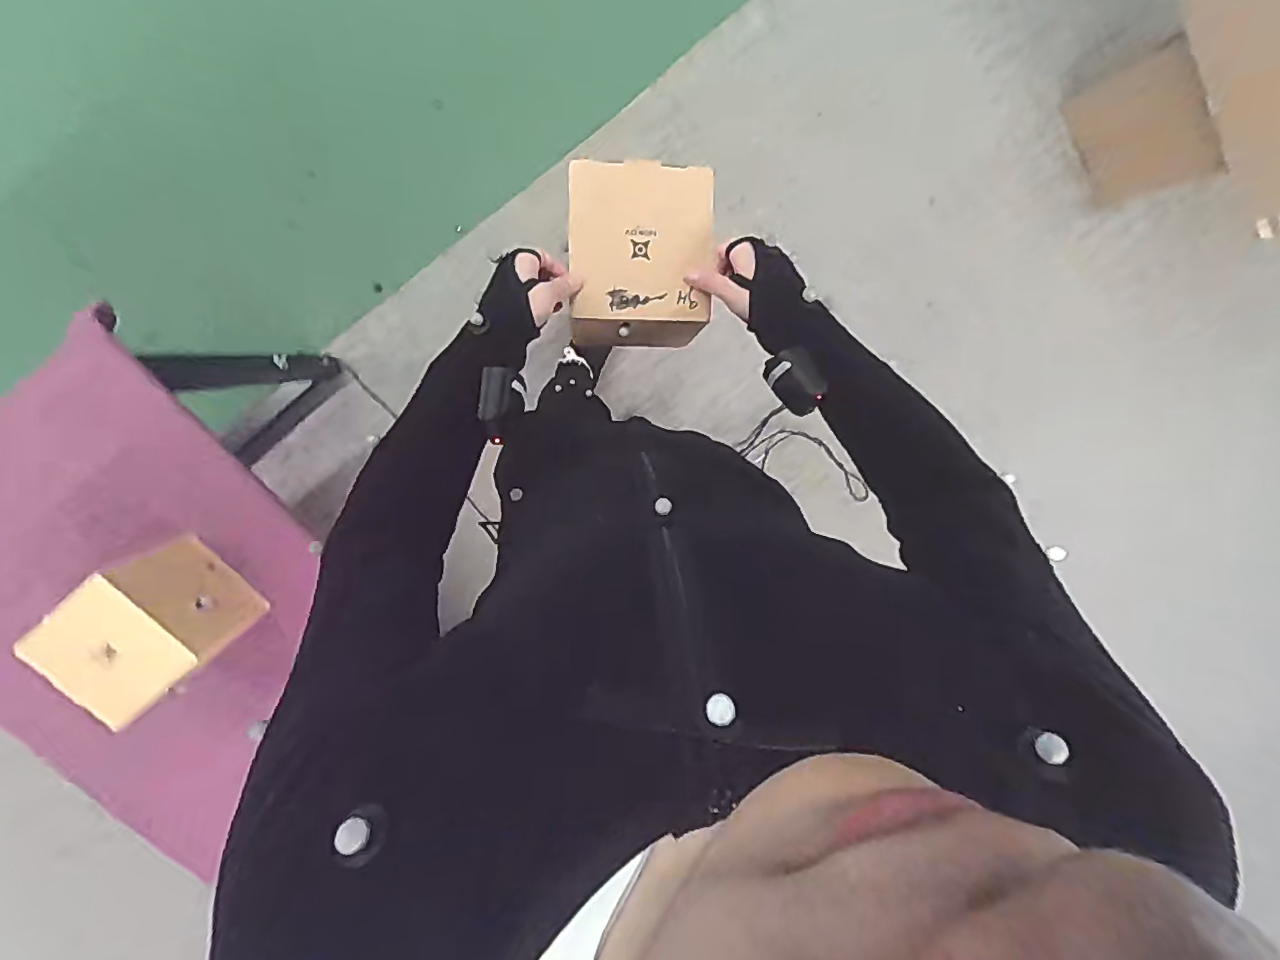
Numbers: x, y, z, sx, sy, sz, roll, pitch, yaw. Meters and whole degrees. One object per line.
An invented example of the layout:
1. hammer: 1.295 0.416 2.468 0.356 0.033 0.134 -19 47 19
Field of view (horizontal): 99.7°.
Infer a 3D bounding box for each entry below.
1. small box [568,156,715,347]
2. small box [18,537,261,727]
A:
1. small box: -0.005 -0.278 0.693 0.168 0.176 0.179 1 94 -5
2. small box: -0.717 0.213 0.805 0.179 0.176 0.168 -39 103 7
